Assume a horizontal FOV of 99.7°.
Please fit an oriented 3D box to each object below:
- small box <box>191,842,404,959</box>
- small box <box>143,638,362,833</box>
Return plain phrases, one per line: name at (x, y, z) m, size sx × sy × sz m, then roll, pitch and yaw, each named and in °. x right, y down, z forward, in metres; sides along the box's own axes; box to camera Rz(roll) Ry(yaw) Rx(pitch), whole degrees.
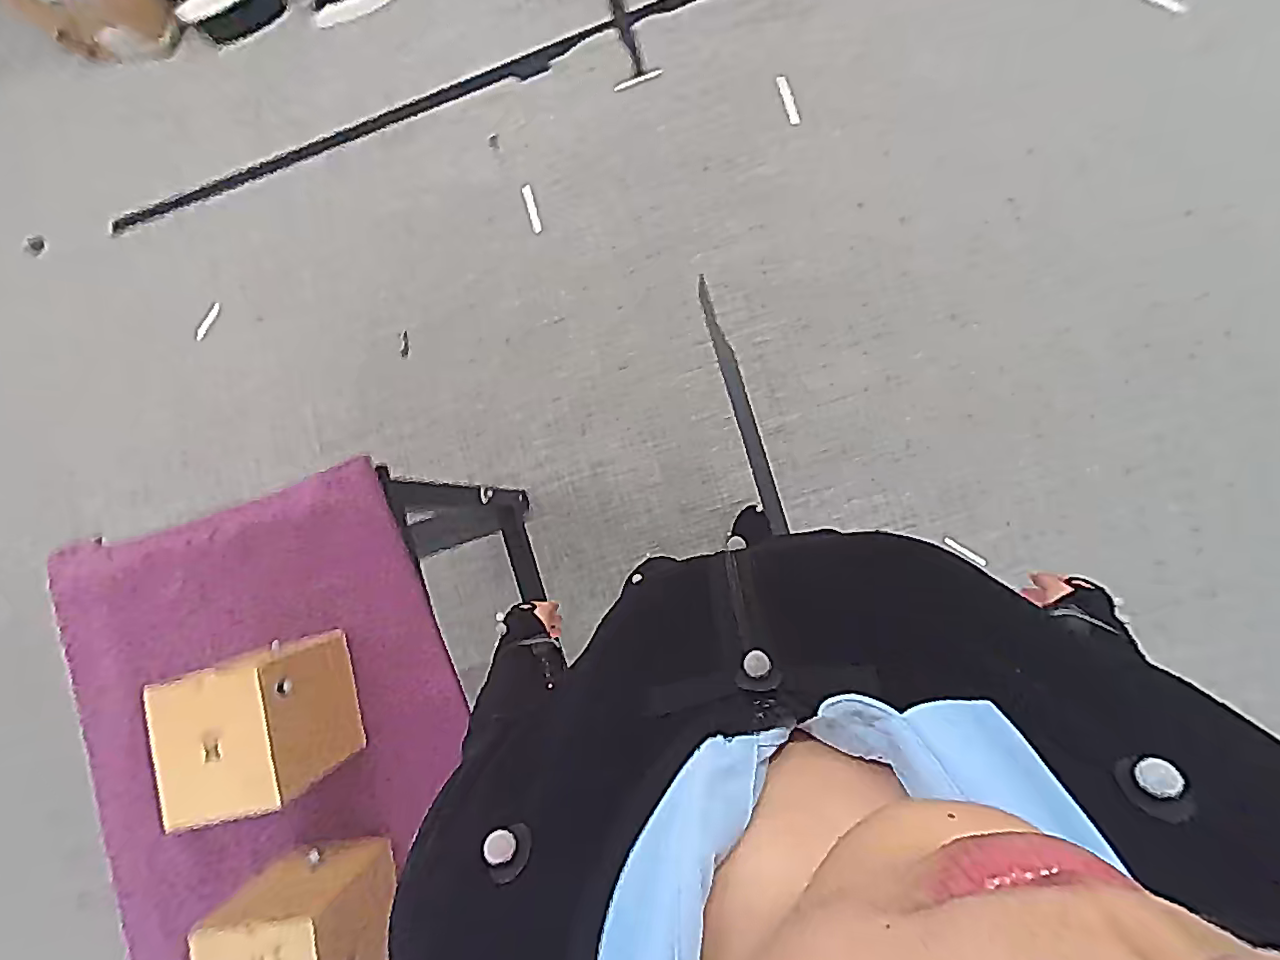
small box at (-0.436, 0.624, 0.715) m, size 0.168 × 0.176 × 0.179 m, roll -11°, pitch 85°, yaw 5°
small box at (-0.515, 0.336, 0.742) m, size 0.168 × 0.176 × 0.179 m, roll -15°, pitch 85°, yaw 6°
